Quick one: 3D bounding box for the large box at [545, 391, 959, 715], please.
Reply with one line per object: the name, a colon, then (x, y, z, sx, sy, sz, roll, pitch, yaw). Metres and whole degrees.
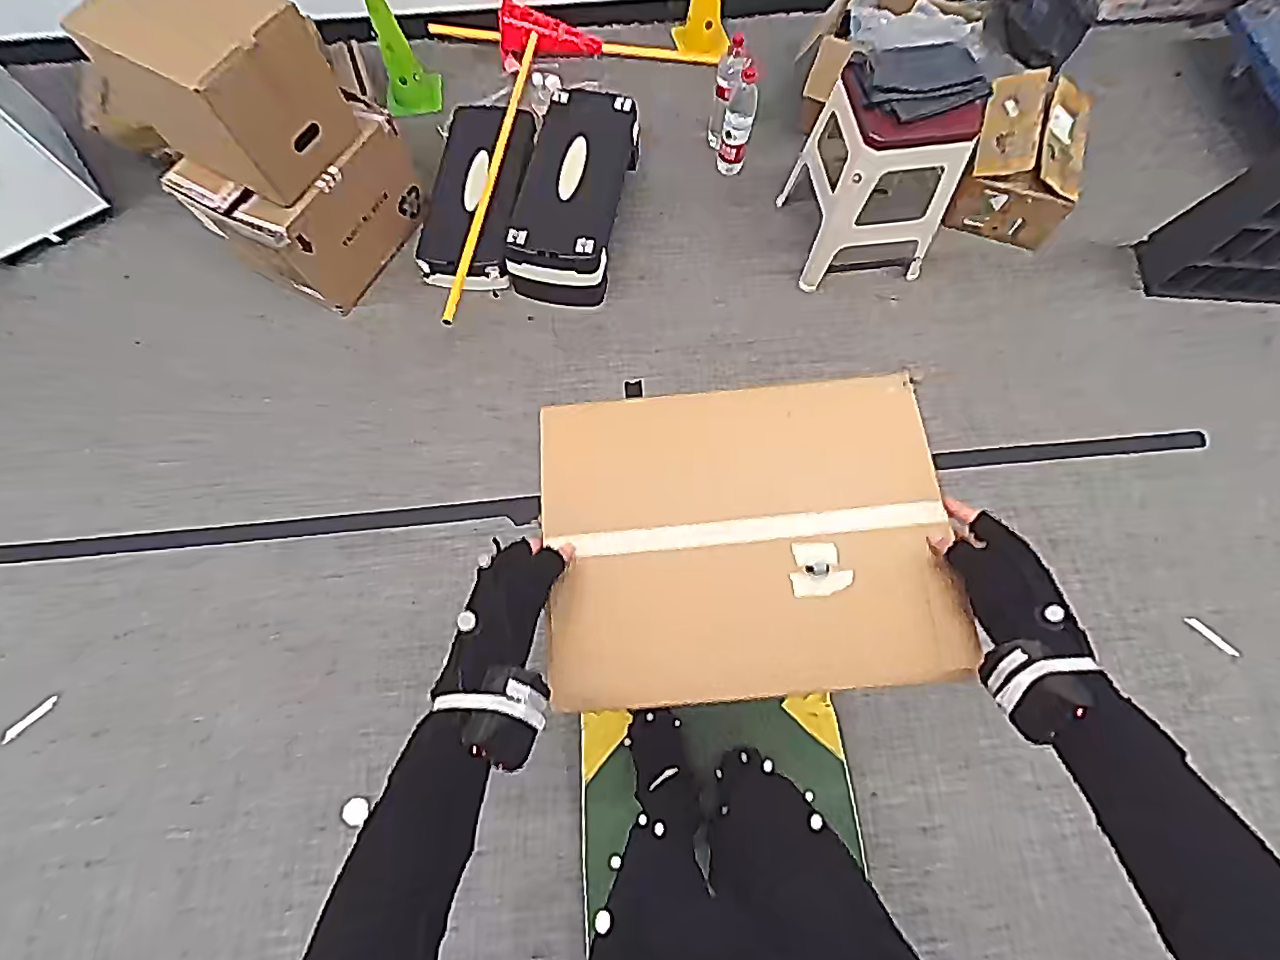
large box: (0.105, 0.109, 0.713, 0.408, 0.320, 0.320, -5, 73, 0)
